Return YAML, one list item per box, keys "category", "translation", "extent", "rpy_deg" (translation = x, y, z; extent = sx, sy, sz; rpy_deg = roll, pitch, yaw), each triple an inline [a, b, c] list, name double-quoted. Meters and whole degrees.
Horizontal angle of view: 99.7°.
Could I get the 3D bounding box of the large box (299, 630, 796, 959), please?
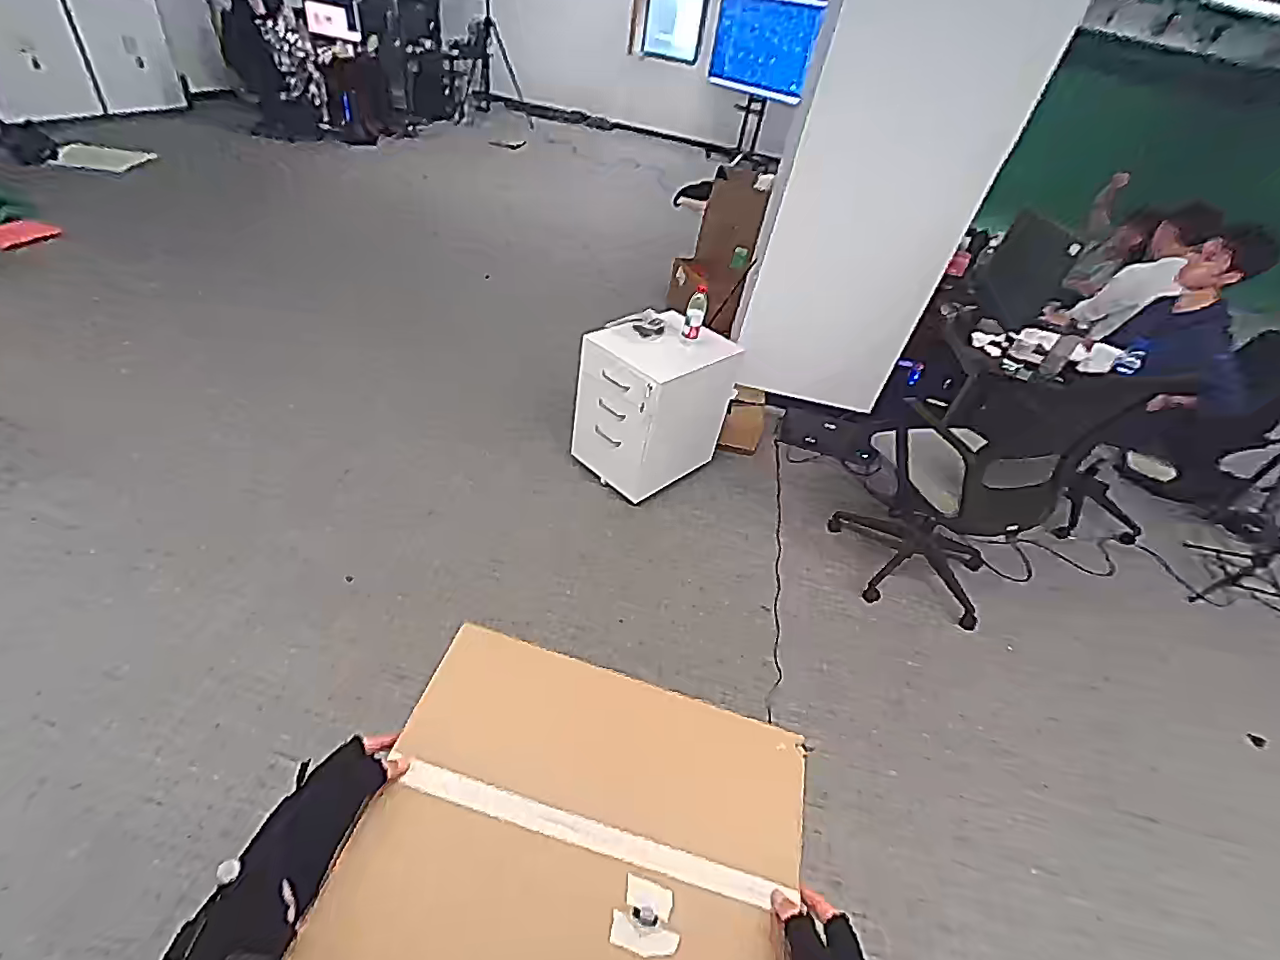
- category: "large box"
  translation: [-0.075, 0.434, 0.624]
  extent: [0.408, 0.320, 0.320]
  rpy_deg: [18, 46, 2]
